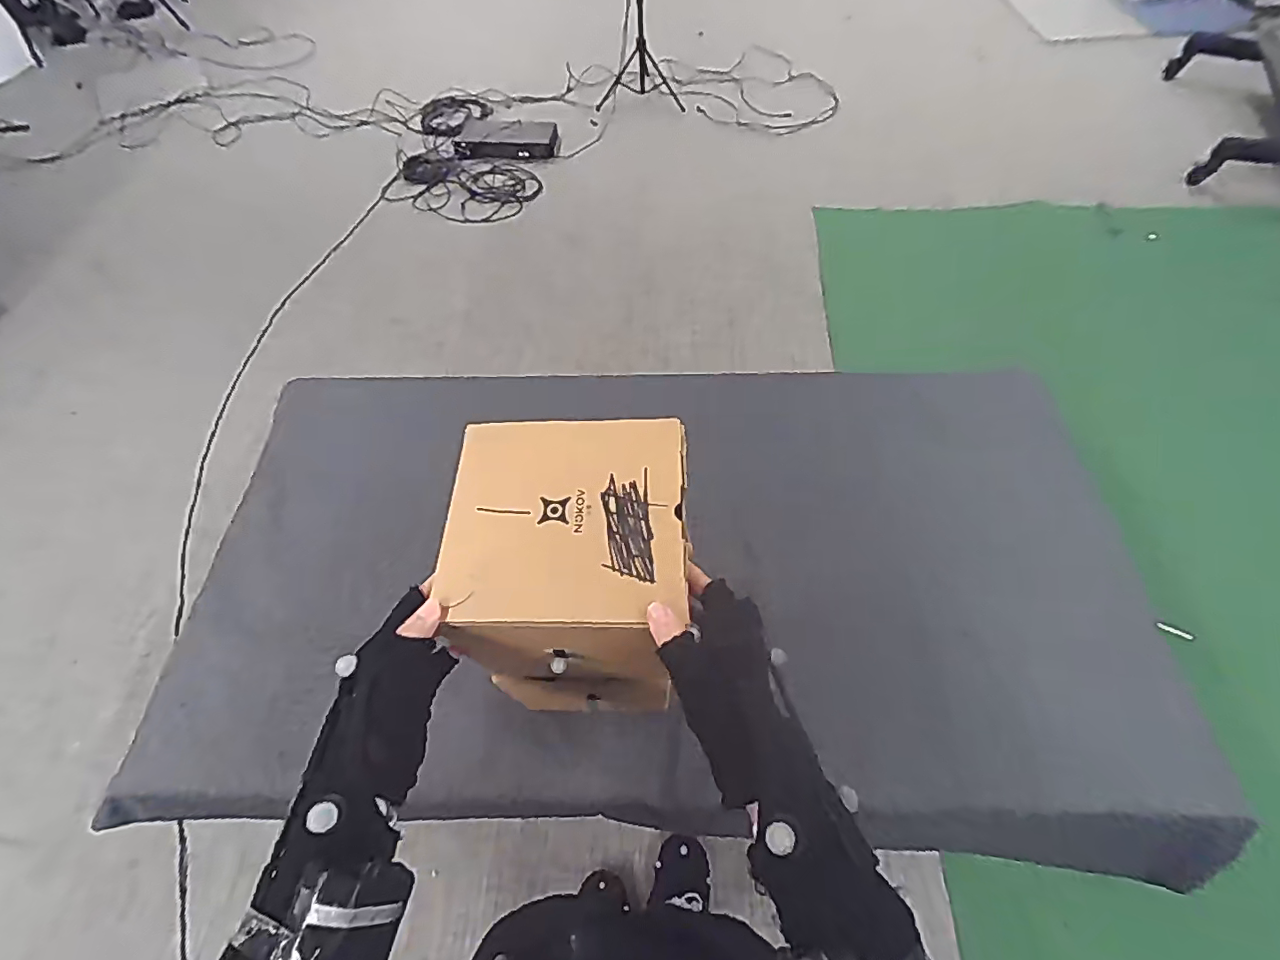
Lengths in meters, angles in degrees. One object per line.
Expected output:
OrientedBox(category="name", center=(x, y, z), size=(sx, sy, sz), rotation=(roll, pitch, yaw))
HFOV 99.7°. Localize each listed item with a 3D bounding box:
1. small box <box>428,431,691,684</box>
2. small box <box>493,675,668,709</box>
OrientedBox(category="small box", center=(-0.050, 0.073, 0.462), size=(0.179, 0.176, 0.168), rotation=(-1, 59, 3))
OrientedBox(category="small box", center=(-0.053, 0.156, 0.606), size=(0.168, 0.176, 0.179), rotation=(-1, 59, 1))
